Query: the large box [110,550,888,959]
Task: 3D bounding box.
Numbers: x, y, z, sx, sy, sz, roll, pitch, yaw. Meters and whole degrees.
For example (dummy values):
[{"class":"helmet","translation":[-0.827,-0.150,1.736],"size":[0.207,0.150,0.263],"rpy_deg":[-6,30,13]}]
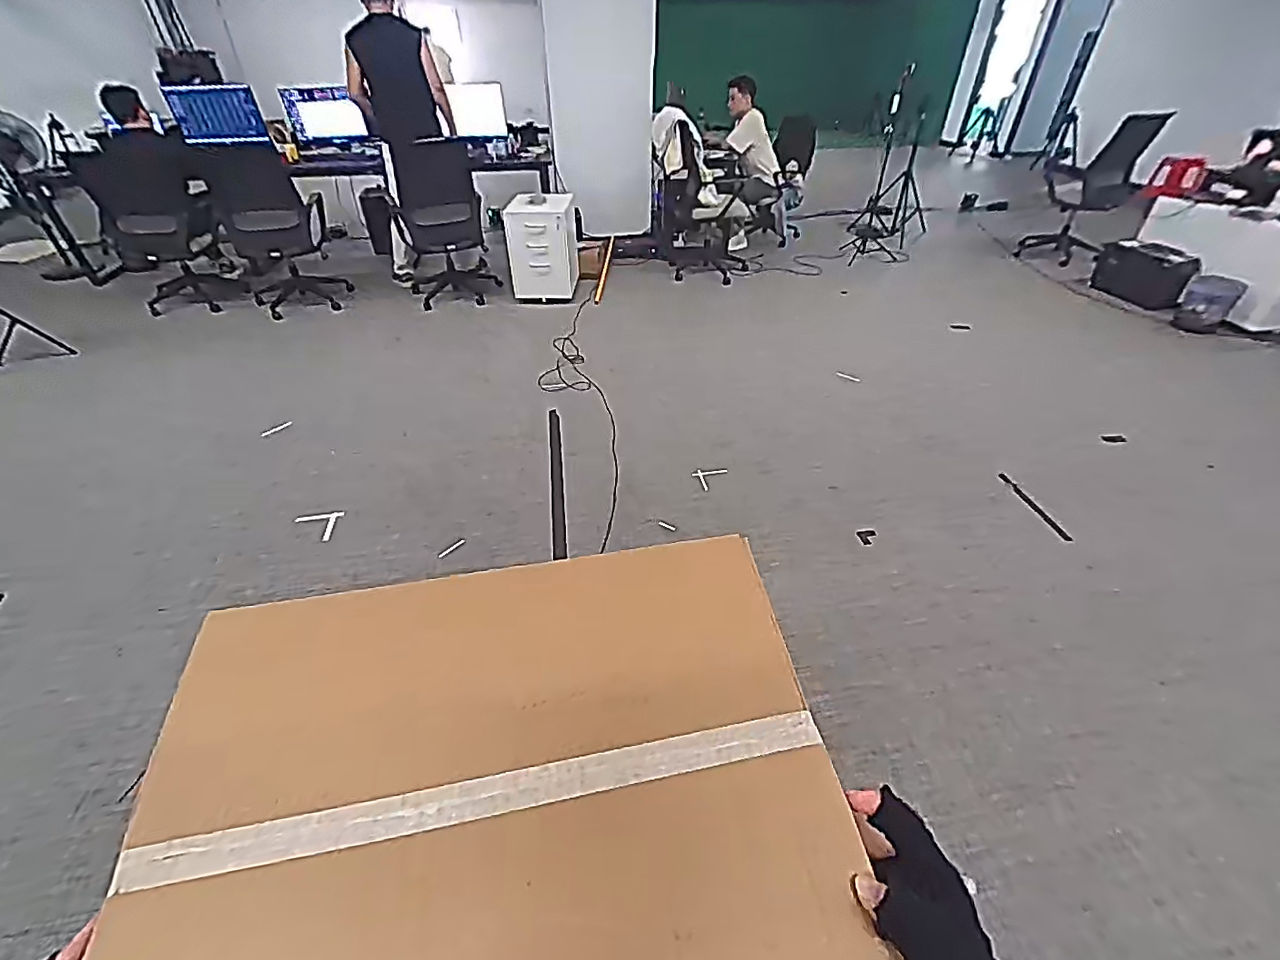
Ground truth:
[{"class":"large box","translation":[-0.085,0.296,0.440],"size":[0.408,0.320,0.320],"rpy_deg":[-8,49,-8]}]
